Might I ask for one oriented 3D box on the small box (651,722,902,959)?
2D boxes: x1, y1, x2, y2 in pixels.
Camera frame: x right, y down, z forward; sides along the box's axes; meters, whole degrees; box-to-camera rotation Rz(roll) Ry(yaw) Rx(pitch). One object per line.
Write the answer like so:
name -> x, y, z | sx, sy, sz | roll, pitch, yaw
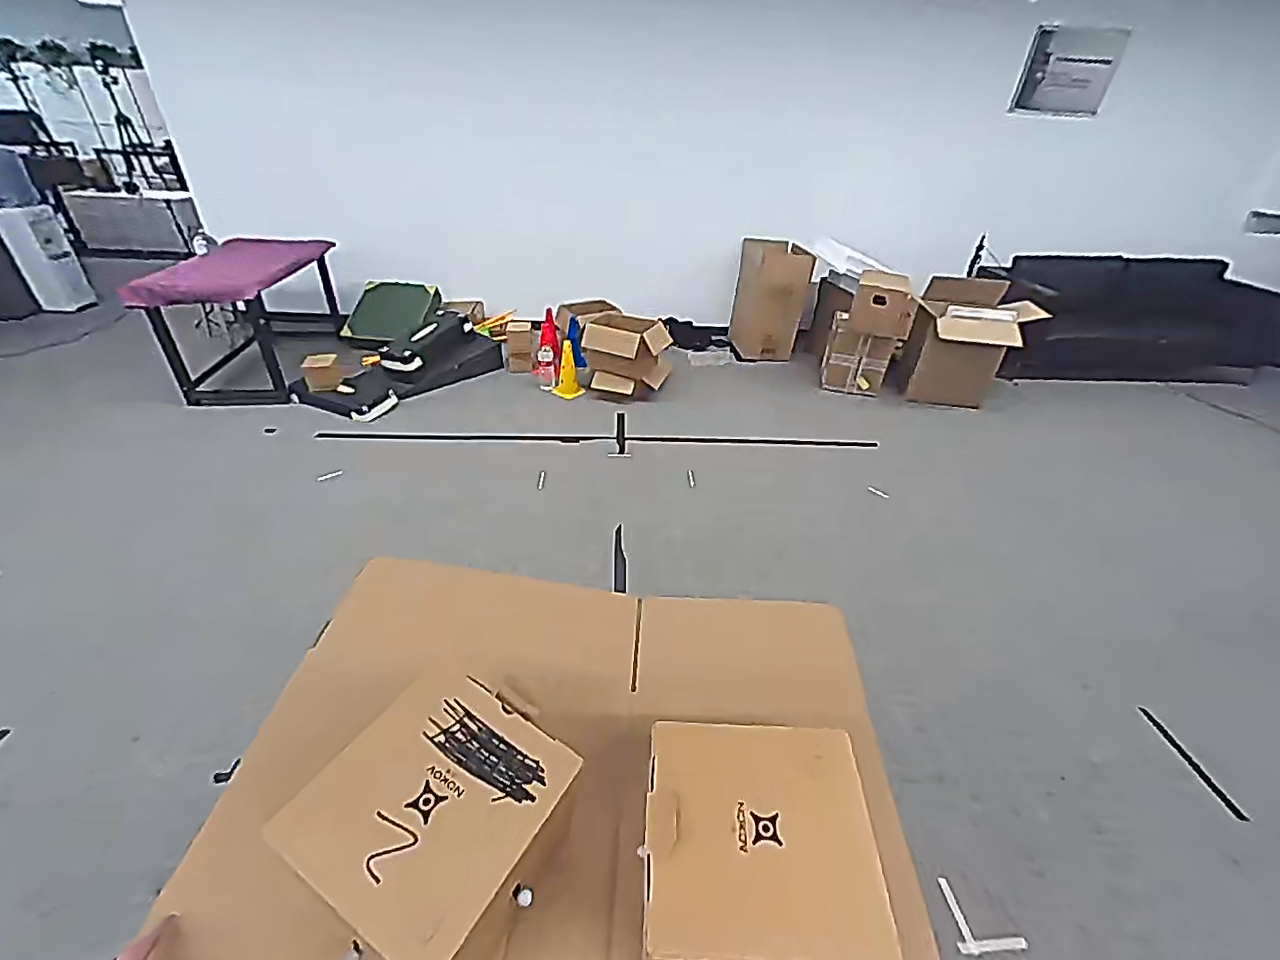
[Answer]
small box -> 0.101, 0.342, 0.487 | 0.179, 0.176, 0.168 | 1, 39, 4
